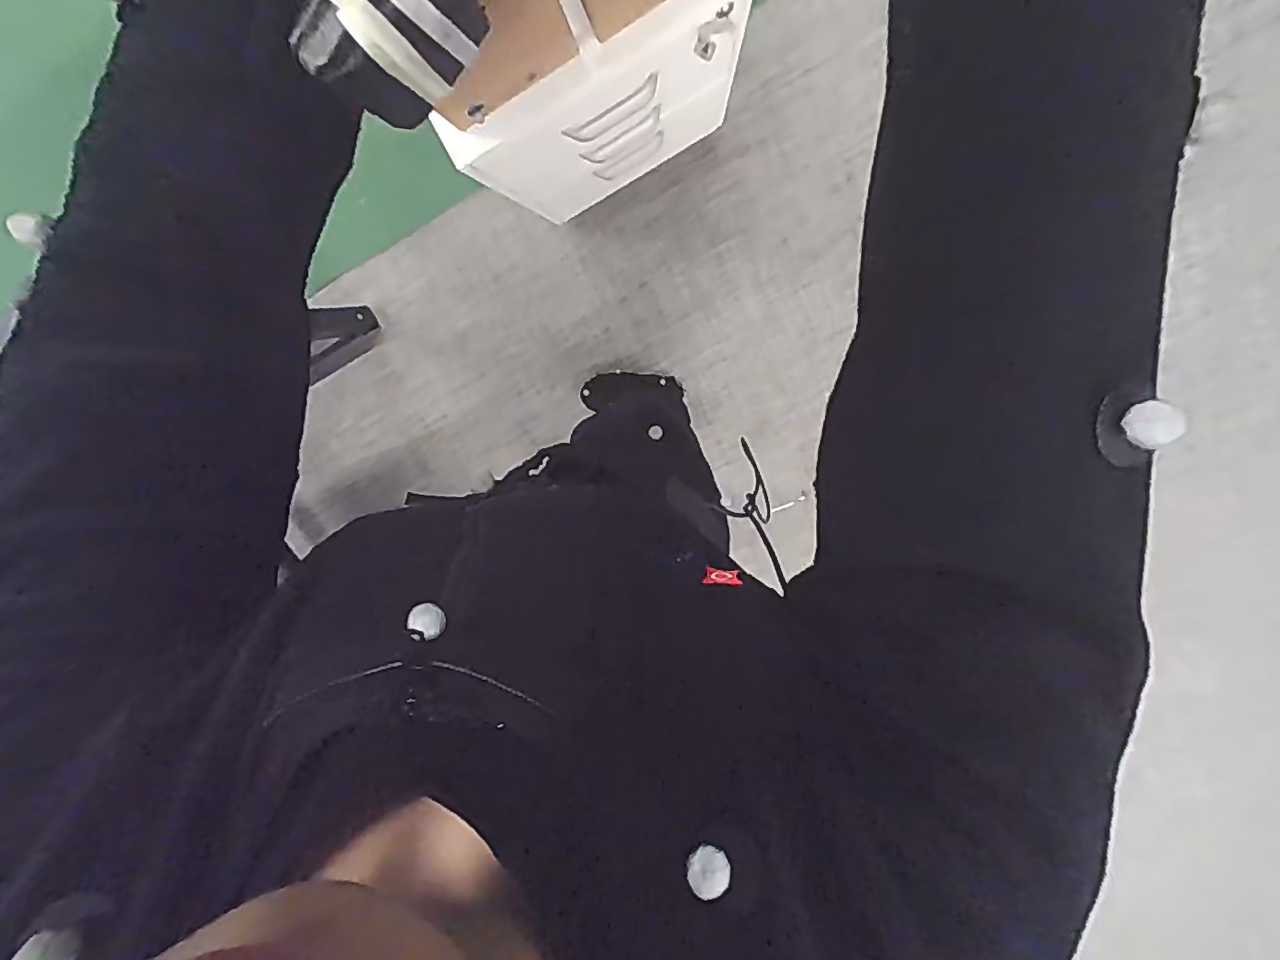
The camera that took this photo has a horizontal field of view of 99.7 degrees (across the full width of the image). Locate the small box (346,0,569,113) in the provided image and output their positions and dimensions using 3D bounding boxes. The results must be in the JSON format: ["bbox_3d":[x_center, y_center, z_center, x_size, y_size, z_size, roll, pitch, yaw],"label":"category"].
[{"bbox_3d":[-0.186,-0.492,0.519,0.168,0.176,0.179,-25,104,11],"label":"small box"}]
